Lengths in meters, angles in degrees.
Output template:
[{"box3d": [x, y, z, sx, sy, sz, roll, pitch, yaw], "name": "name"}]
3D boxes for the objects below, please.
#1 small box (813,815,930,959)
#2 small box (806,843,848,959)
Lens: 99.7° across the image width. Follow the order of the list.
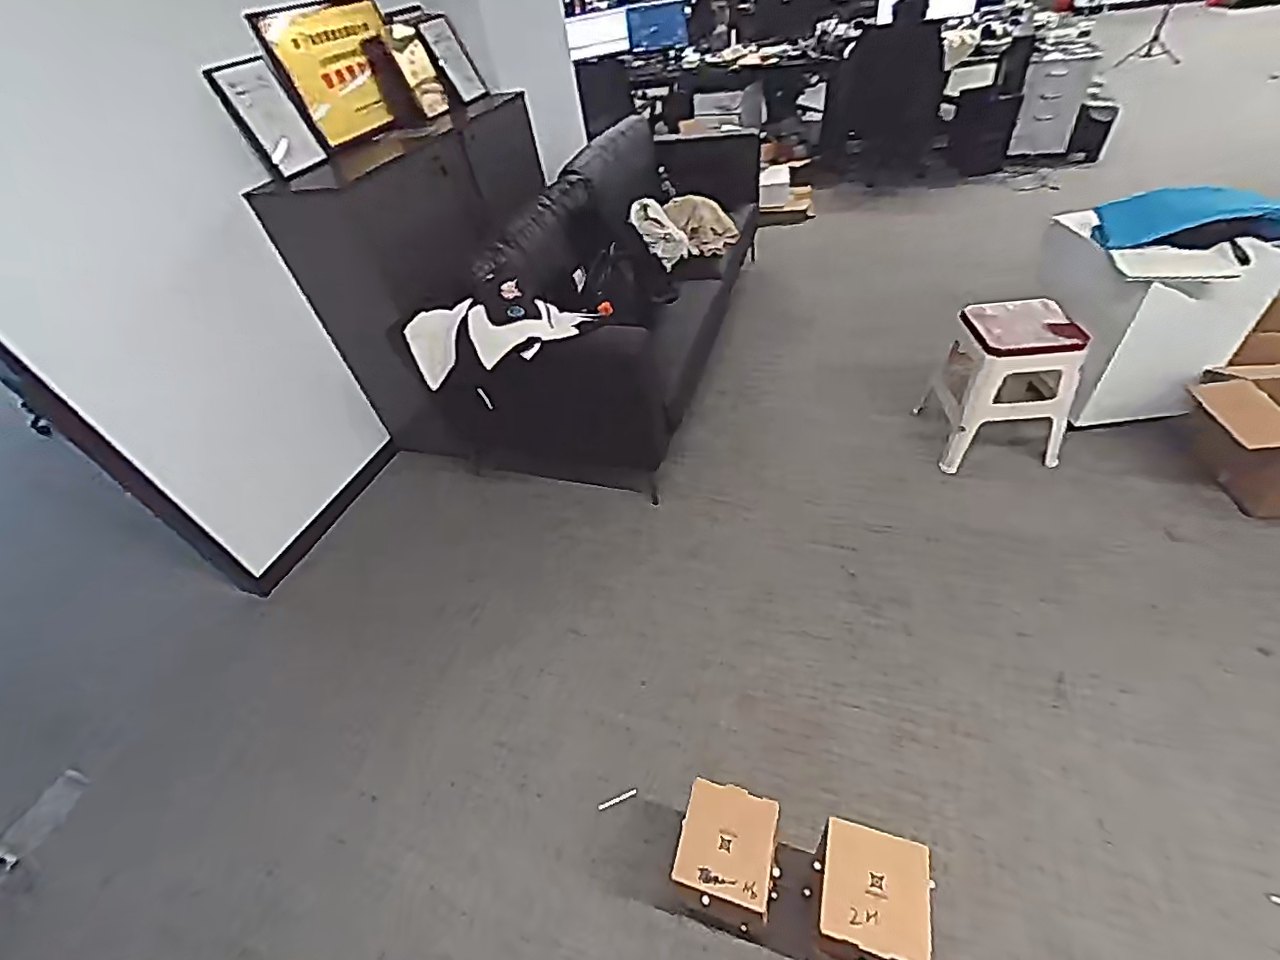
[{"box3d": [0.404, 0.737, 0.956, 0.168, 0.176, 0.179, 9, 46, 20], "name": "small box"}, {"box3d": [0.424, 0.860, 1.065, 0.168, 0.176, 0.179, 8, 46, 19], "name": "small box"}]
